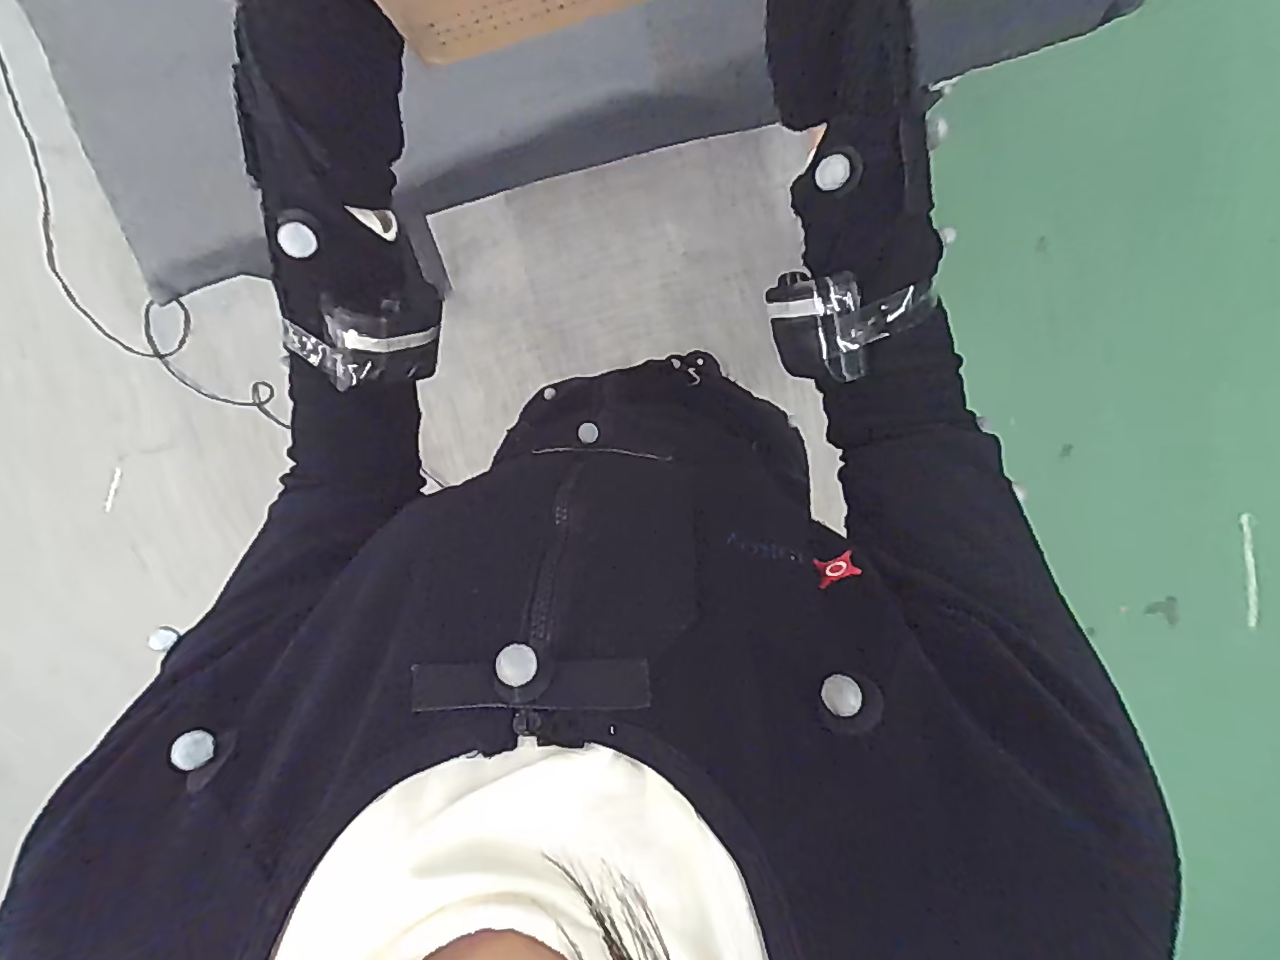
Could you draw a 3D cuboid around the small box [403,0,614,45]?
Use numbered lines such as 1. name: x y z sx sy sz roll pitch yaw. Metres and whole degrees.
1. small box: -0.043 -0.287 0.169 0.179 0.176 0.168 -13 102 6
